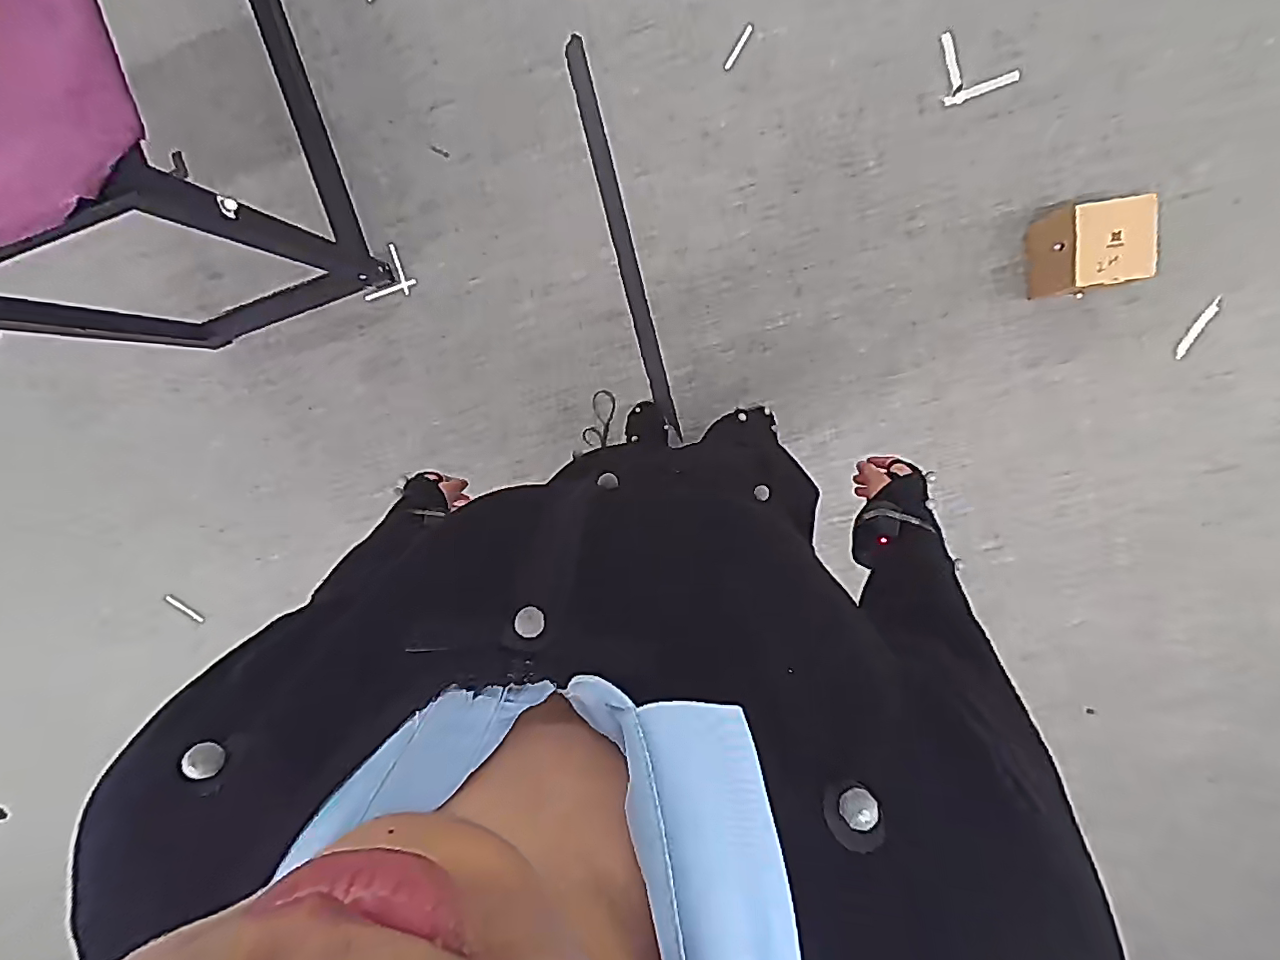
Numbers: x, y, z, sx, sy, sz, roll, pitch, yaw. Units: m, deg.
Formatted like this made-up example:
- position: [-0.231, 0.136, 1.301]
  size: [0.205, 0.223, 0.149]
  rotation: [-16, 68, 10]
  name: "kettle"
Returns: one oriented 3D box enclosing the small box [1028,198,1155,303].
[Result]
- position: [1.033, -0.523, 1.251]
  size: [0.168, 0.176, 0.179]
  rotation: [-6, 99, 6]
  name: "small box"
